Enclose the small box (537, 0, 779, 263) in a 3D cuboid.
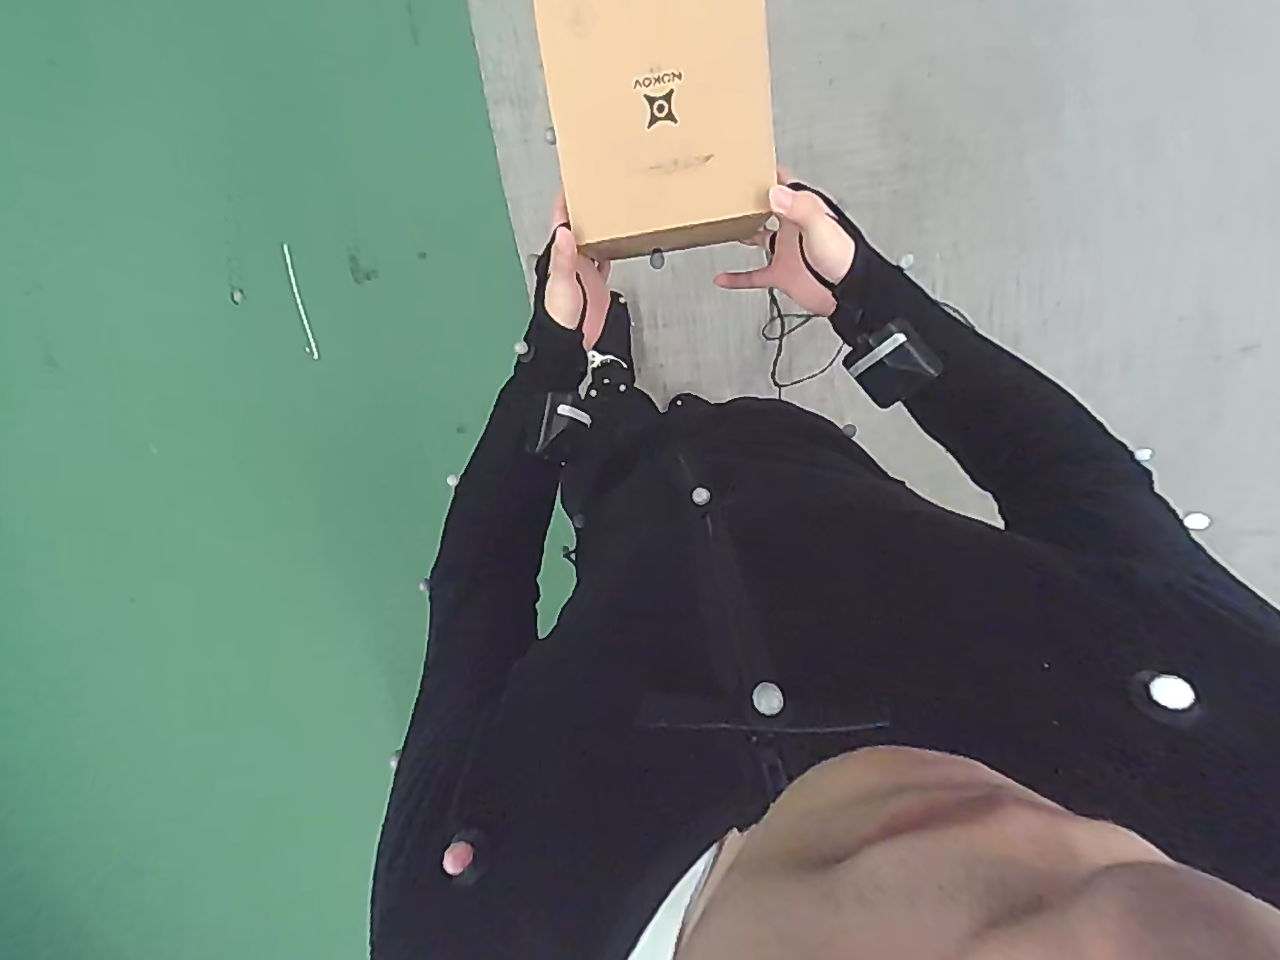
[{"bbox_3d":[0.018,-0.299,0.468,0.168,0.176,0.179,-6,106,5],"label":"small box"}]
